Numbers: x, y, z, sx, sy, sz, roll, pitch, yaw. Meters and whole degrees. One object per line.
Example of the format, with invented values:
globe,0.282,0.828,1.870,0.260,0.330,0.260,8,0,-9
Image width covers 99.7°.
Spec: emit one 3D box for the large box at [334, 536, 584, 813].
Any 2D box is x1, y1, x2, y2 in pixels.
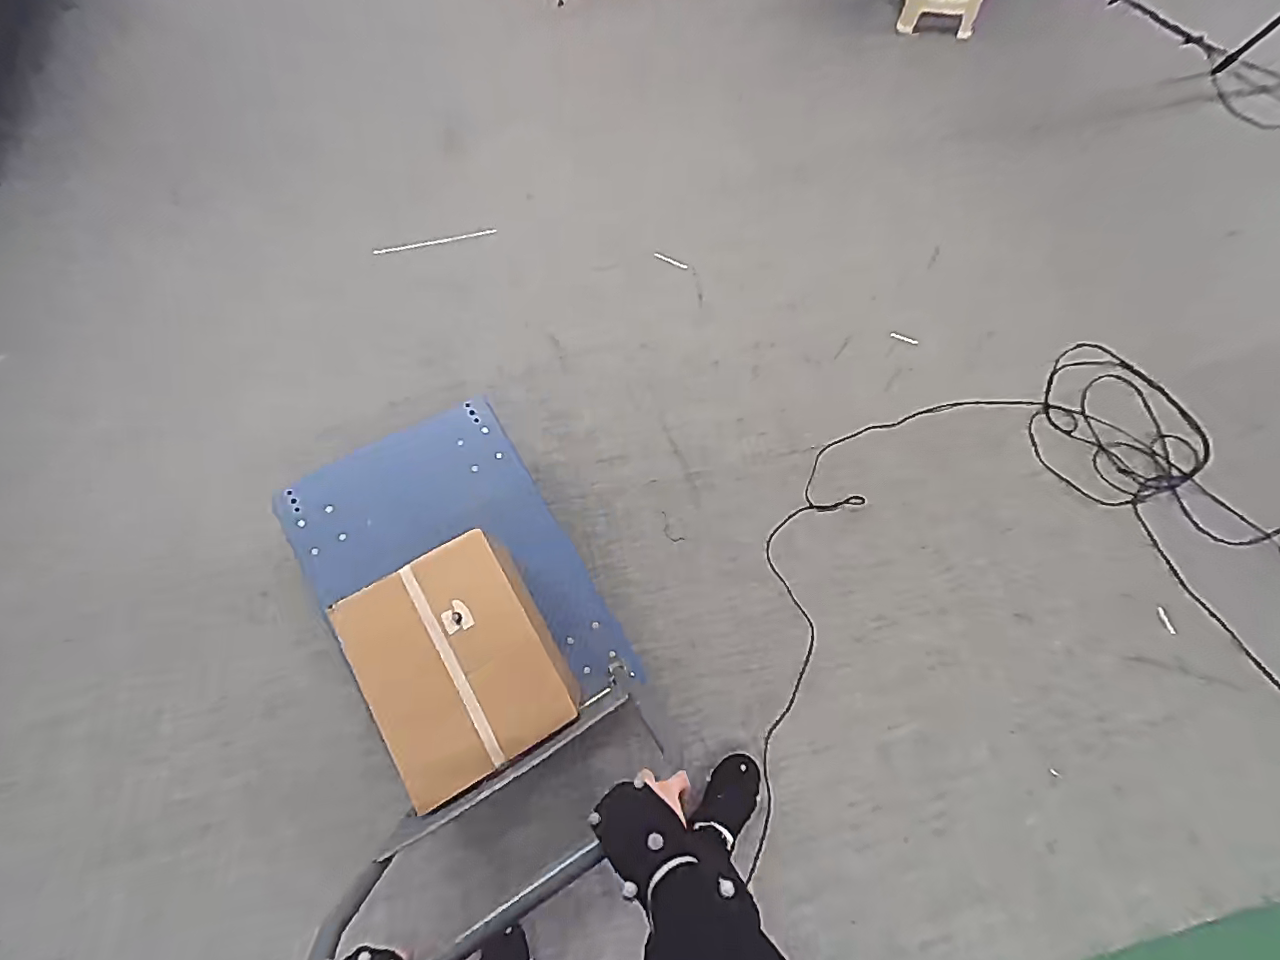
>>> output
large box,-0.352,0.387,1.147,0.320,0.320,0.408,-29,78,-13
